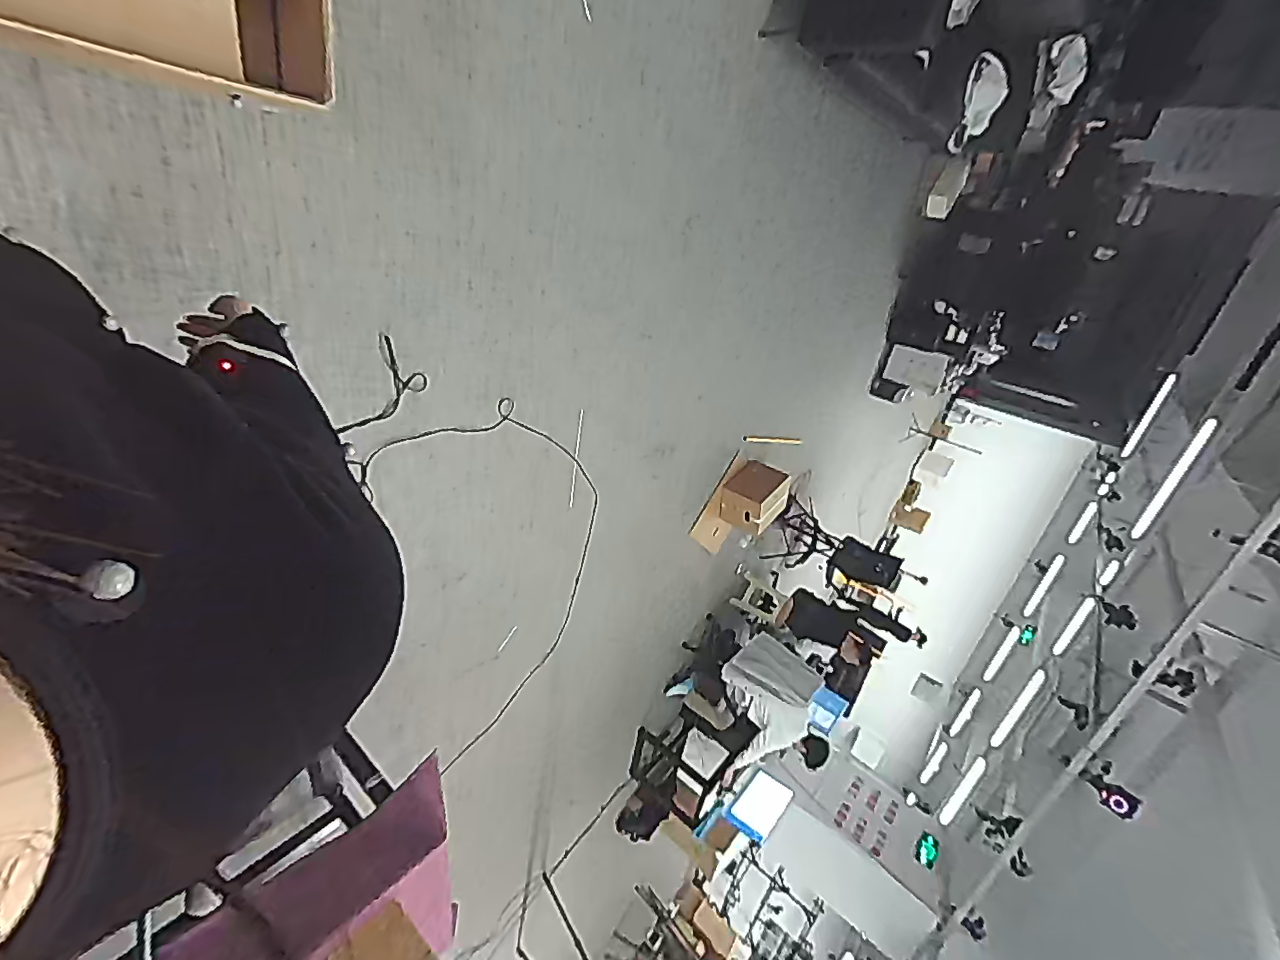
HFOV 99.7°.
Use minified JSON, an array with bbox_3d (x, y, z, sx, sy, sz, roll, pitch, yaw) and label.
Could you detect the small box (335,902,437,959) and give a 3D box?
[{"bbox_3d":[-0.623,1.202,1.328,0.179,0.176,0.168,-24,132,-46],"label":"small box"}]
